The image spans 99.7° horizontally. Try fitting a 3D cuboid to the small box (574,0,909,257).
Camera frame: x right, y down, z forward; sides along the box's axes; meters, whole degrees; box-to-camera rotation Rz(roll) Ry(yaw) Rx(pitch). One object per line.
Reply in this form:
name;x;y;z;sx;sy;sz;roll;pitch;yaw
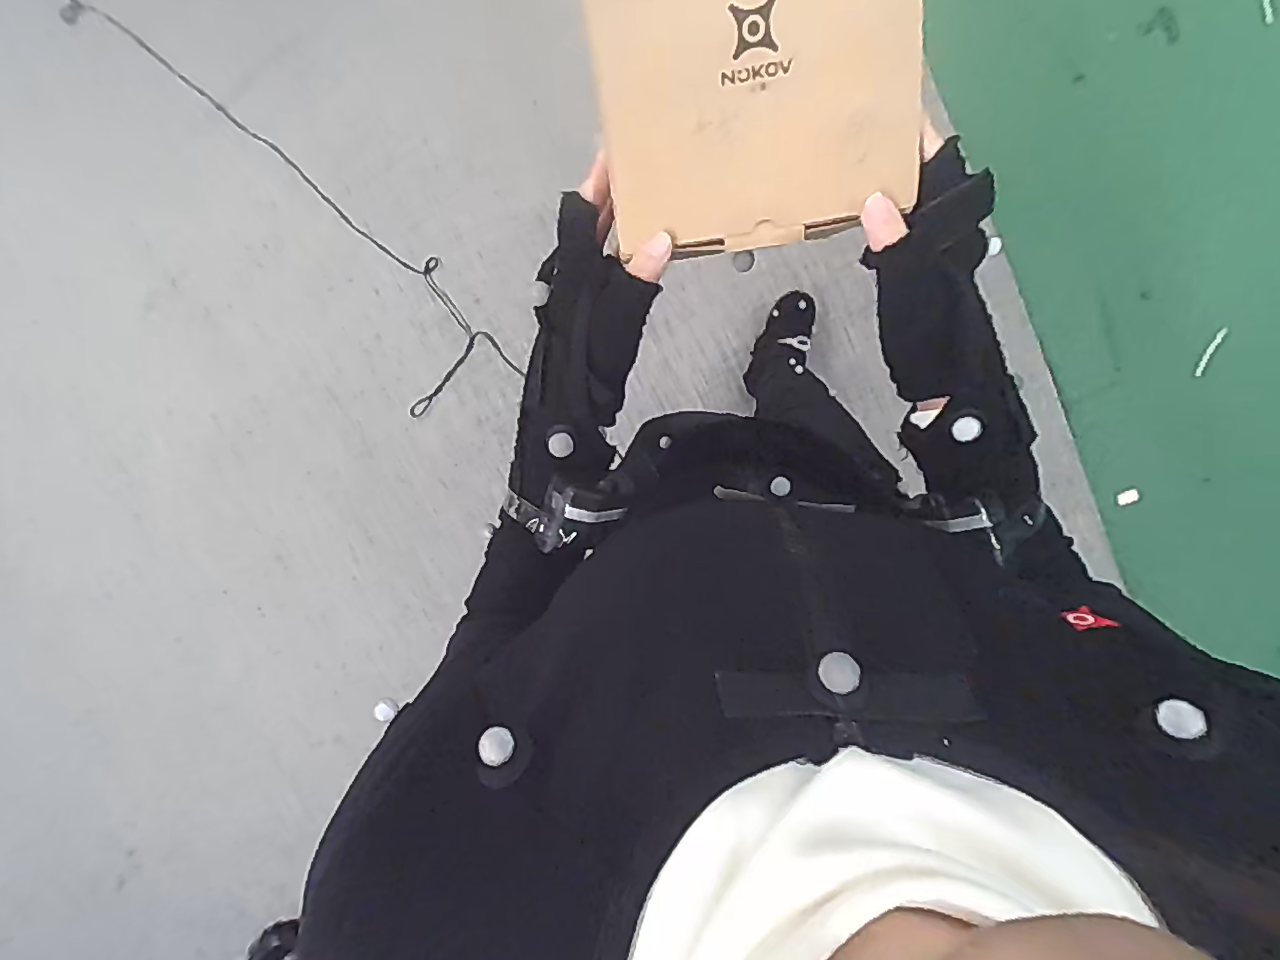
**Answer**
small box;0.056;-0.250;0.349;0.168;0.176;0.179;-8;111;5
